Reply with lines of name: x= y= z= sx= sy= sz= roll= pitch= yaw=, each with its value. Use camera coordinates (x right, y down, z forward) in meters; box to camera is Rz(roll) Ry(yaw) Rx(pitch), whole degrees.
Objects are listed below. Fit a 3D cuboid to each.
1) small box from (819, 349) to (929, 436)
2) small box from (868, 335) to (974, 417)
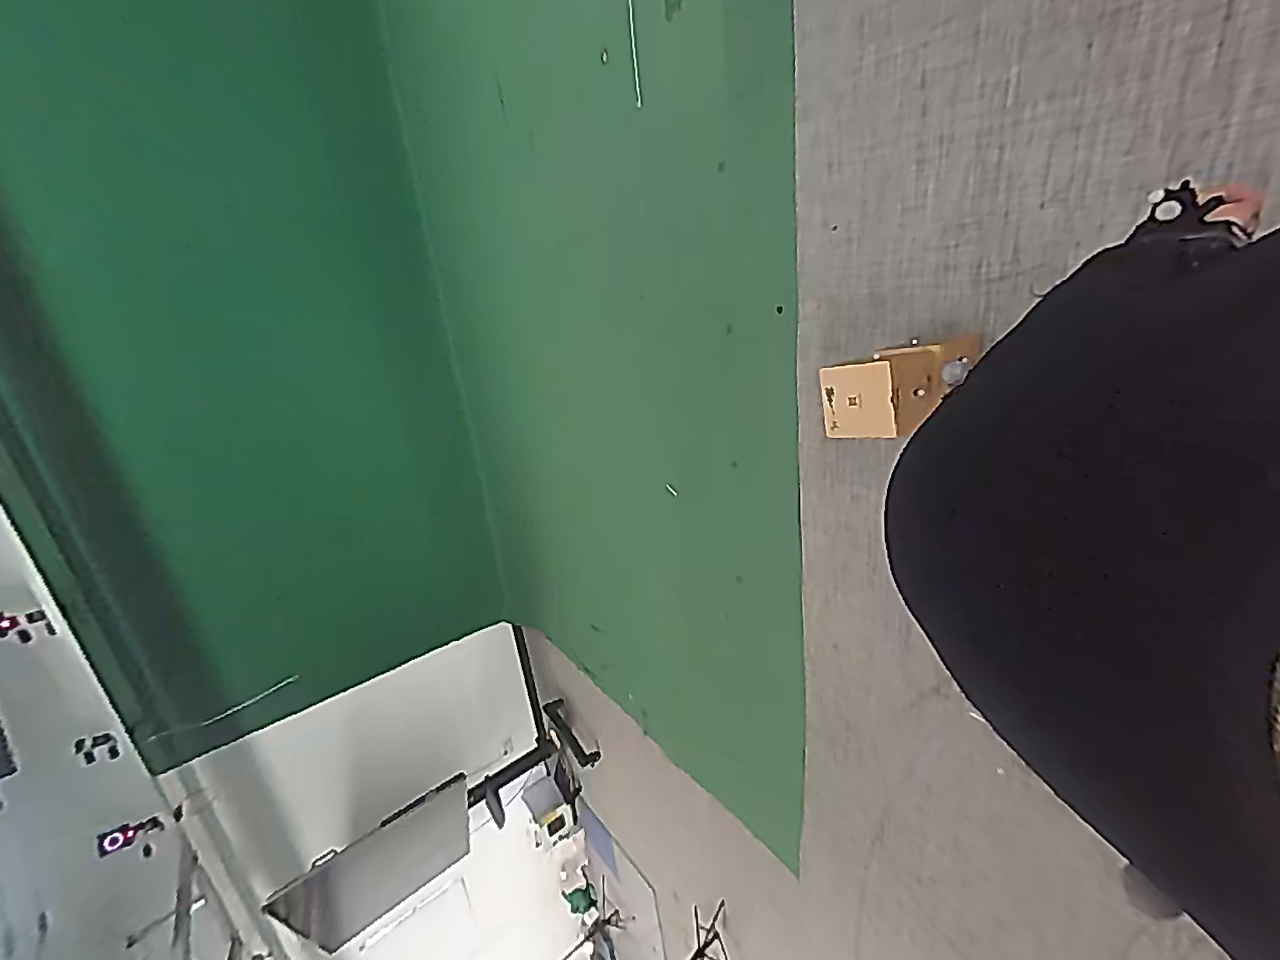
small box: x=0.539 y=-0.198 z=1.234 sx=0.179 sy=0.176 sz=0.168 roll=7 pitch=110 yaw=53
small box: x=0.681 y=-0.250 z=1.302 sx=0.179 sy=0.176 sz=0.168 roll=9 pitch=113 yaw=55
